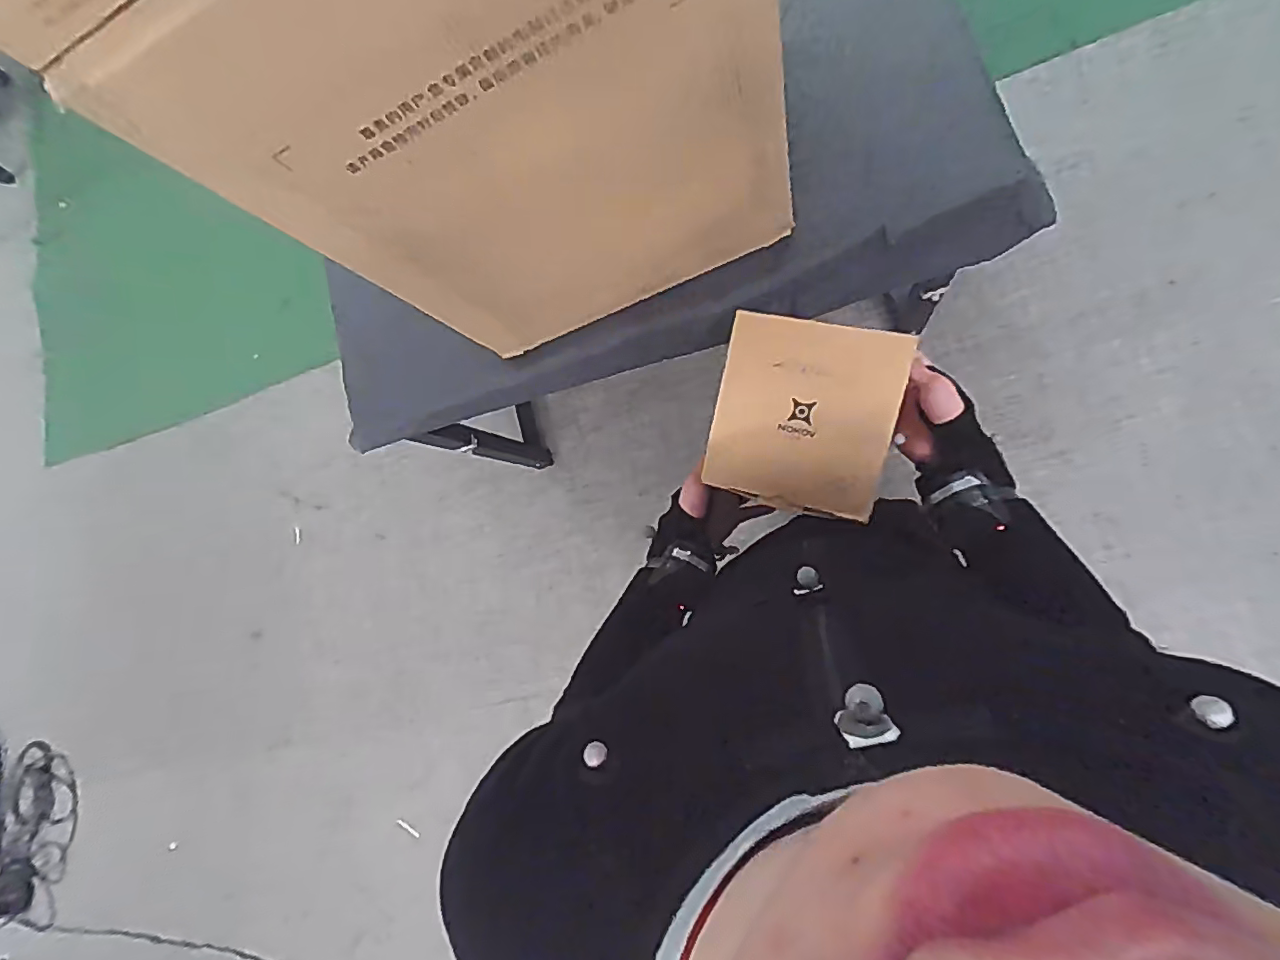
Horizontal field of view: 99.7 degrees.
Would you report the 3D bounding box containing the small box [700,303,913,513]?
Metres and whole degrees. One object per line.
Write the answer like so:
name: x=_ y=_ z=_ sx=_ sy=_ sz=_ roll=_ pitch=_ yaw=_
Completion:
small box: x=0.177 y=-0.080 z=0.591 sx=0.168 sy=0.176 sz=0.179 roll=14 pitch=101 yaw=16
